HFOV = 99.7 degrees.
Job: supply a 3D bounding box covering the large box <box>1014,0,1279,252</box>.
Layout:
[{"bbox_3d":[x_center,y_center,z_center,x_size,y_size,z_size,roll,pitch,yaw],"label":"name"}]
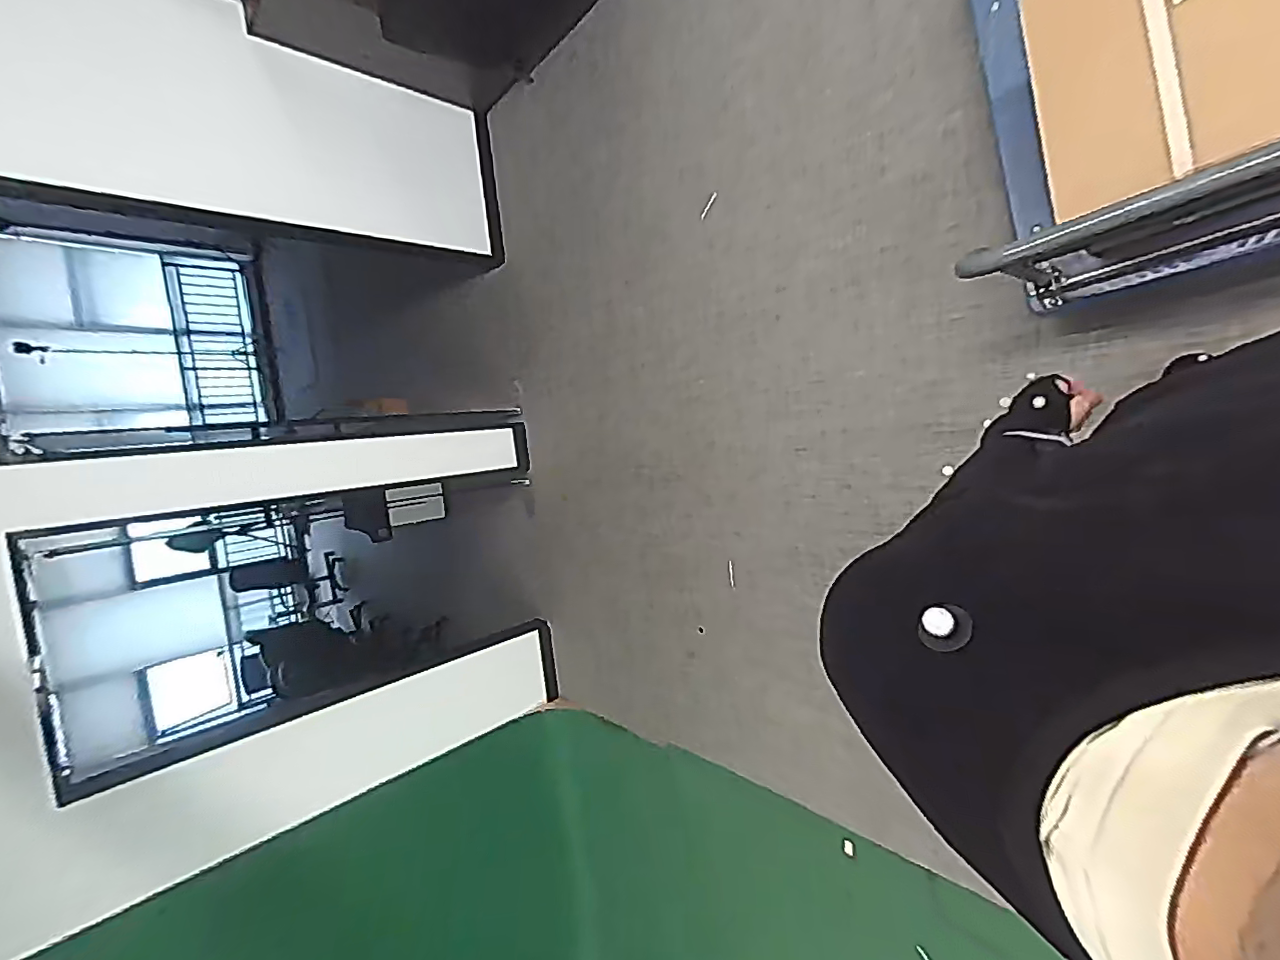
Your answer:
[{"bbox_3d":[0.890,-0.666,0.915,0.320,0.320,0.408,-10,88,47],"label":"large box"}]
